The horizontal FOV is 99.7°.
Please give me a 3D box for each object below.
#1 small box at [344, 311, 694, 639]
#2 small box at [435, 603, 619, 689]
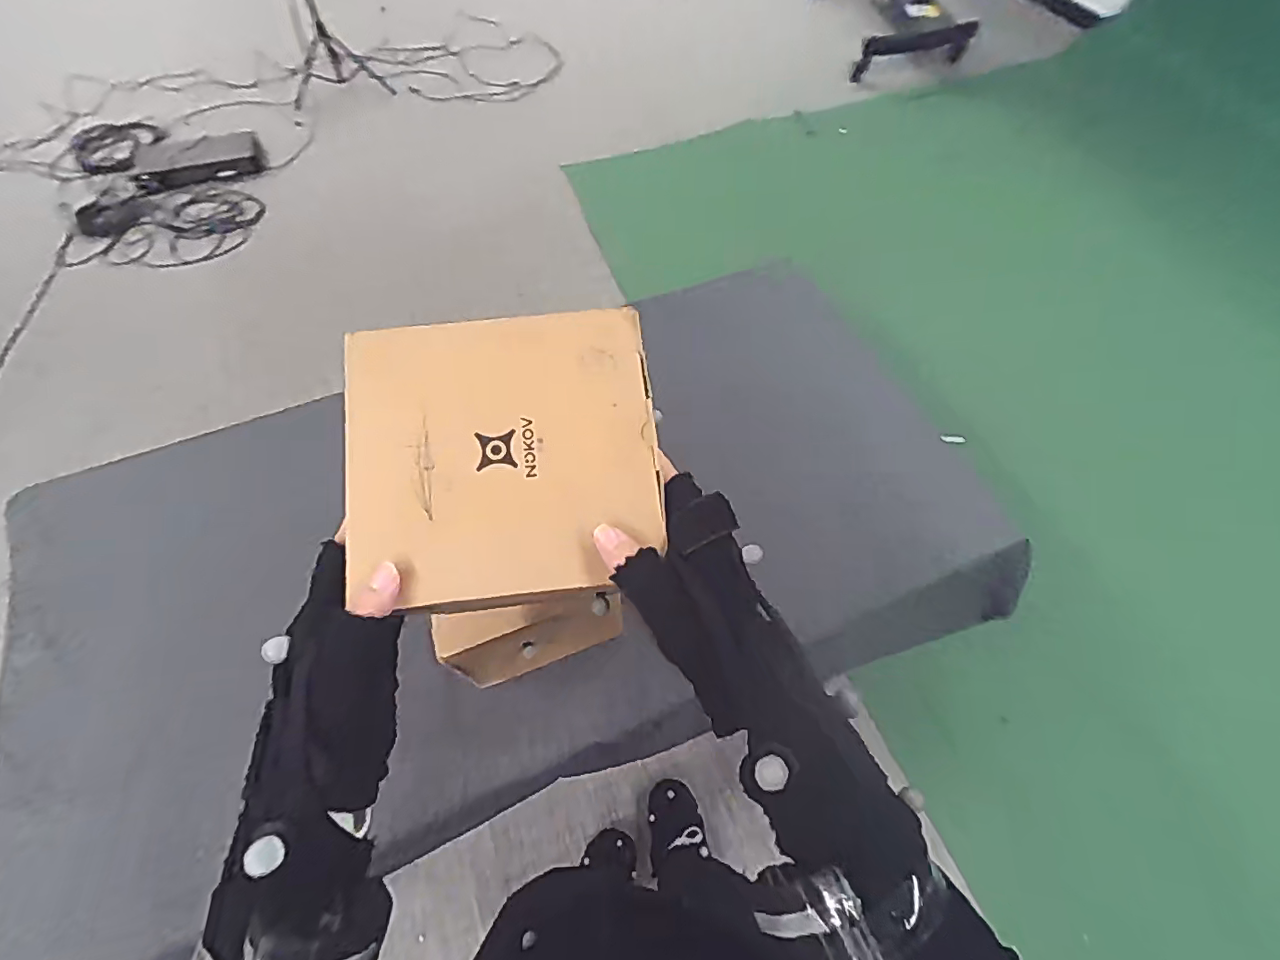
[{"bbox_3d":[-0.074,0.008,0.374,0.179,0.176,0.168,-10,76,-5],"label":"small box"},{"bbox_3d":[-0.133,0.115,0.613,0.179,0.176,0.168,-21,61,-14],"label":"small box"}]
